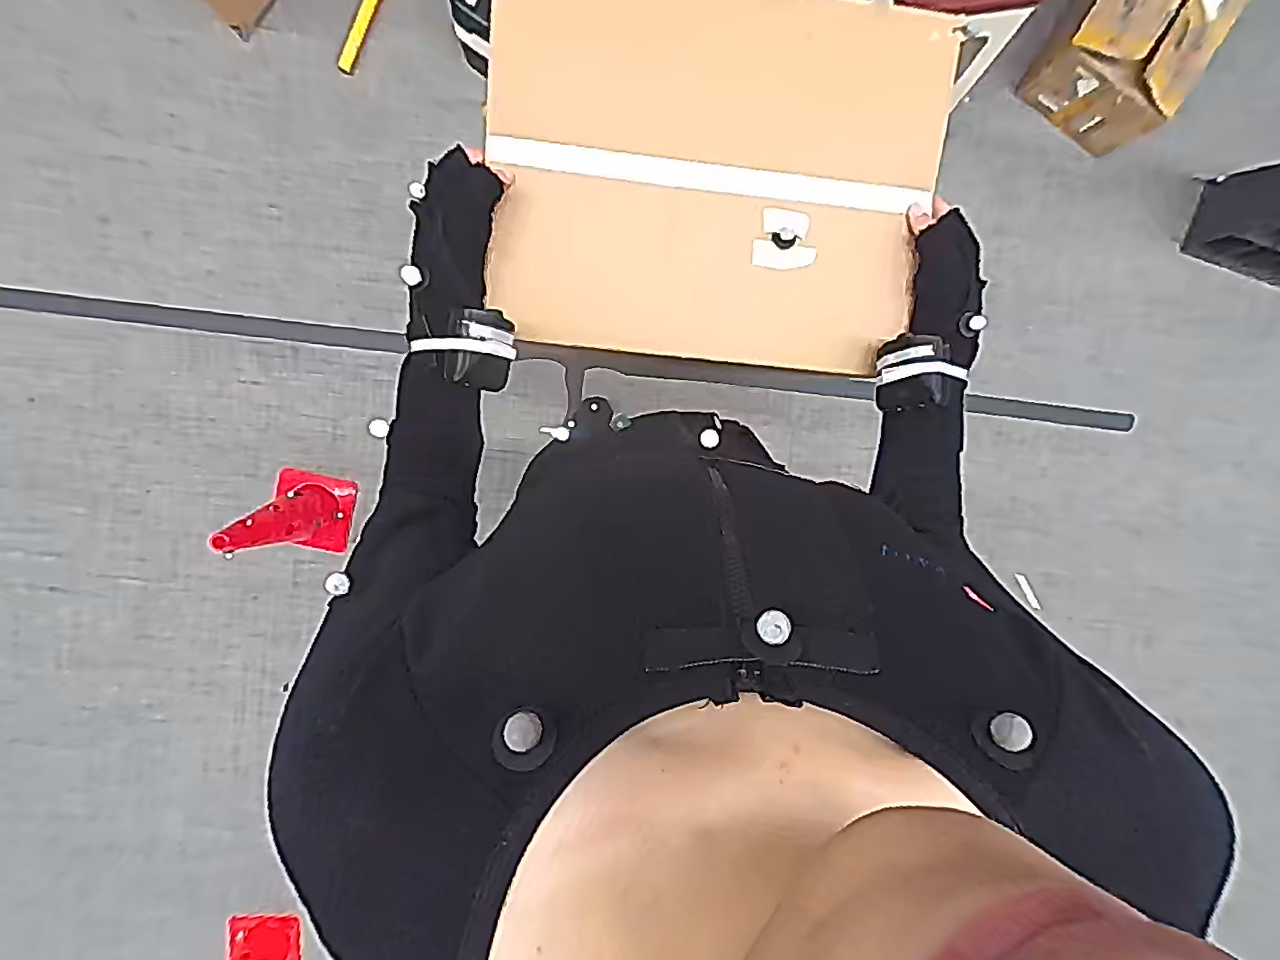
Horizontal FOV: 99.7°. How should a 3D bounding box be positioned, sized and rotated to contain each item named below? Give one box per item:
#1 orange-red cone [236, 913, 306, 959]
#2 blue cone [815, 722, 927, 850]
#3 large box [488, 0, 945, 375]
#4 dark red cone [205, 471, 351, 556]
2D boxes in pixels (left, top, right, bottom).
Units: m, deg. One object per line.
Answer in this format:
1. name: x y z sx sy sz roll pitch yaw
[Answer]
1. orange-red cone: -1.067 1.376 1.404 0.198 0.360 0.199 4 98 -3
2. blue cone: 0.639 0.839 1.464 0.192 0.380 0.193 9 96 -6
3. large box: 0.053 -0.297 0.637 0.408 0.320 0.320 4 101 -6
4. dark red cone: -0.845 0.105 1.238 0.201 0.394 0.202 12 96 -6
